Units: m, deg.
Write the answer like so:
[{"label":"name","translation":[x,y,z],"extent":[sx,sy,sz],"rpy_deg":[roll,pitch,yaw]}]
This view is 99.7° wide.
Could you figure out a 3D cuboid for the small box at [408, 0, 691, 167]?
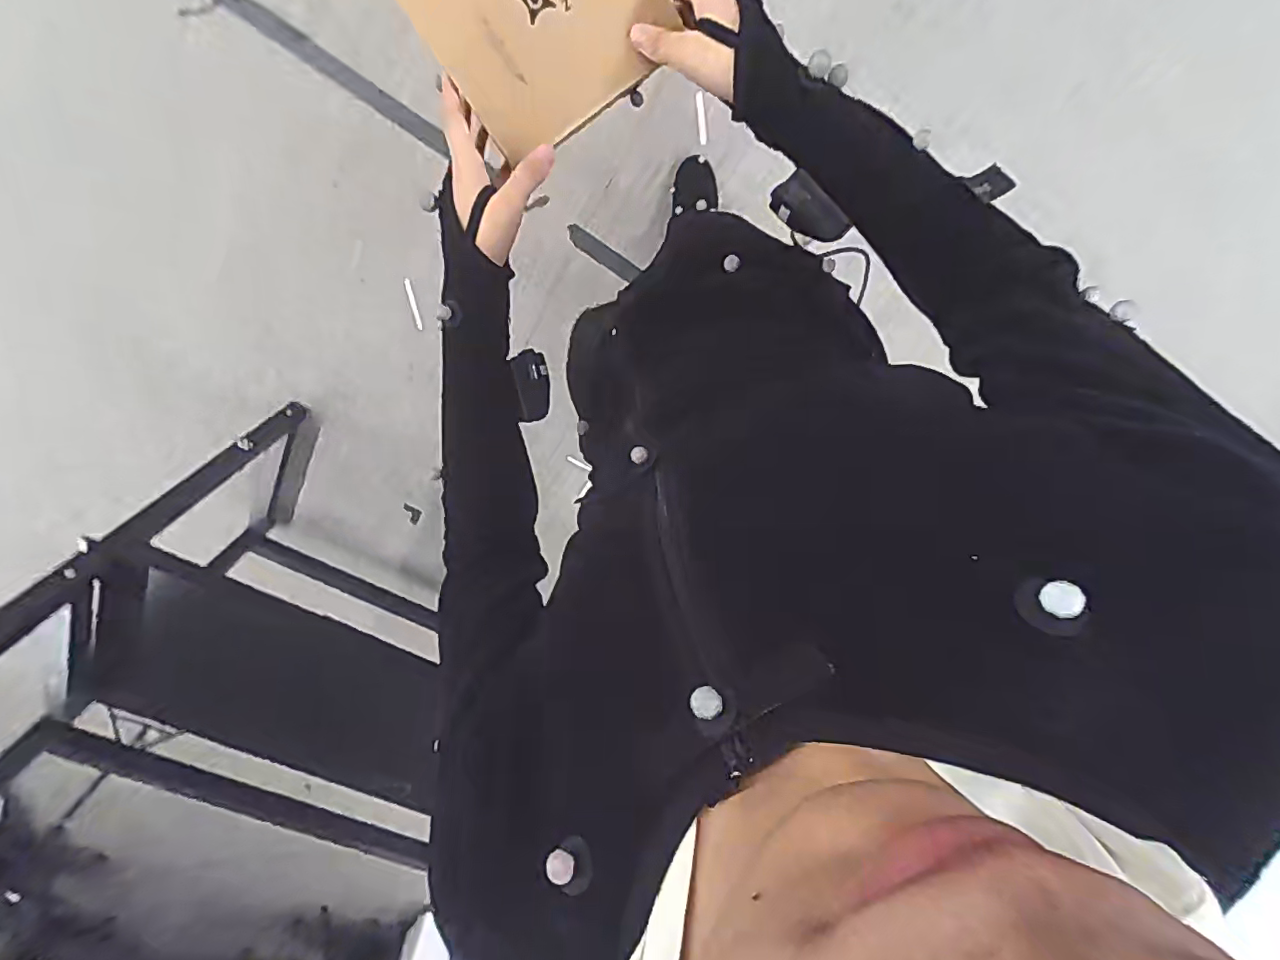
[{"label":"small box","translation":[-0.086,-0.396,0.458],"extent":[0.179,0.176,0.168],"rpy_deg":[-33,119,7]}]
